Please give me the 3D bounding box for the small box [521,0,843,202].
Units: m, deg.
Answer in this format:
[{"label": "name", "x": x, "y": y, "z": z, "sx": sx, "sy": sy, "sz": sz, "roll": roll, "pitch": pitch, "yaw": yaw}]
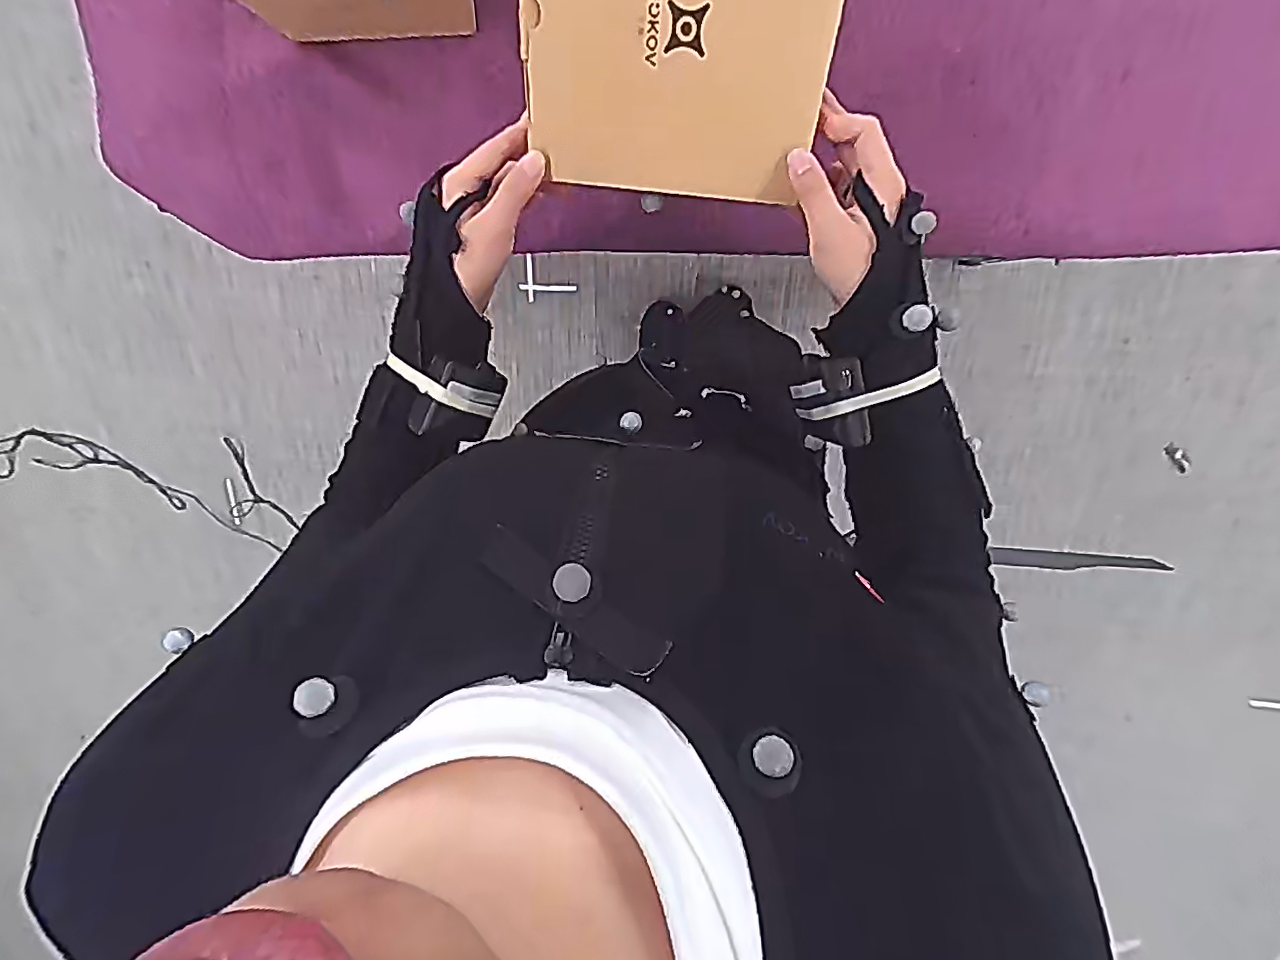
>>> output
[{"label": "small box", "x": 0.026, "y": -0.296, "z": 0.361, "sx": 0.179, "sy": 0.176, "sz": 0.168, "roll": 7, "pitch": 124, "yaw": 1}]
